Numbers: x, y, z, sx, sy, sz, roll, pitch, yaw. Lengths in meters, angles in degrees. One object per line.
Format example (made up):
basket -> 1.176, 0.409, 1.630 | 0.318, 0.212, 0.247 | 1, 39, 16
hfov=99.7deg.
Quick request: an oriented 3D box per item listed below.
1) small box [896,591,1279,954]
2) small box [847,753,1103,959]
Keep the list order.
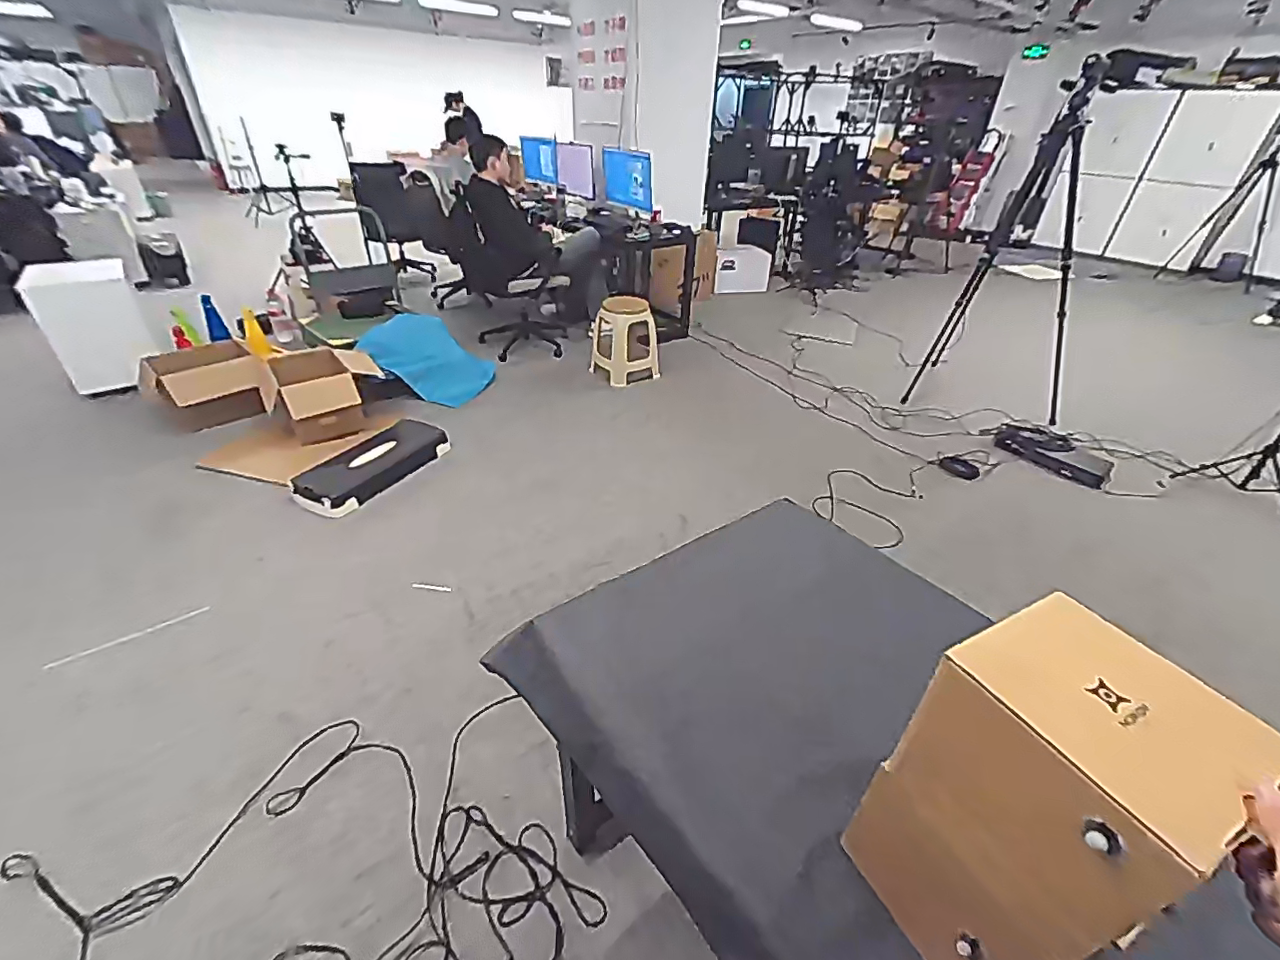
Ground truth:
small box -> 0.352, 0.229, 0.448 | 0.168, 0.176, 0.179 | -14, 38, -24
small box -> 0.342, 0.365, 0.537 | 0.168, 0.176, 0.179 | -14, 37, -24
